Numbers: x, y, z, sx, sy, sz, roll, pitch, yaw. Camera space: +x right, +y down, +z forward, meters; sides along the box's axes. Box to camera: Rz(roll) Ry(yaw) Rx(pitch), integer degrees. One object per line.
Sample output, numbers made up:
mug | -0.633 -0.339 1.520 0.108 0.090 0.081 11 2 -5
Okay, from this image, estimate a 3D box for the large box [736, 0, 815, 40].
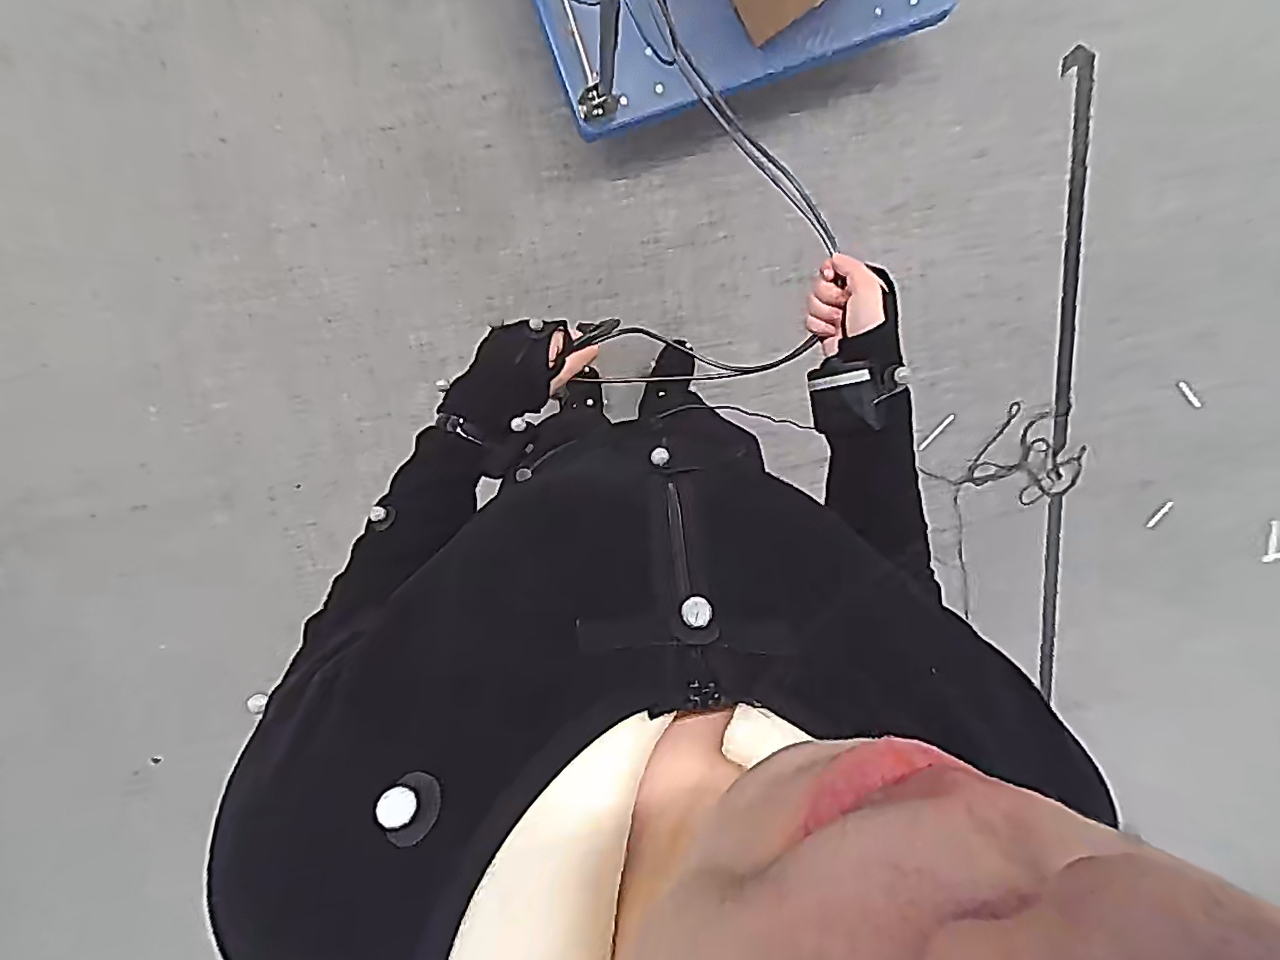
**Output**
large box | 0.275 -1.108 0.919 0.320 0.320 0.408 -35 107 3
